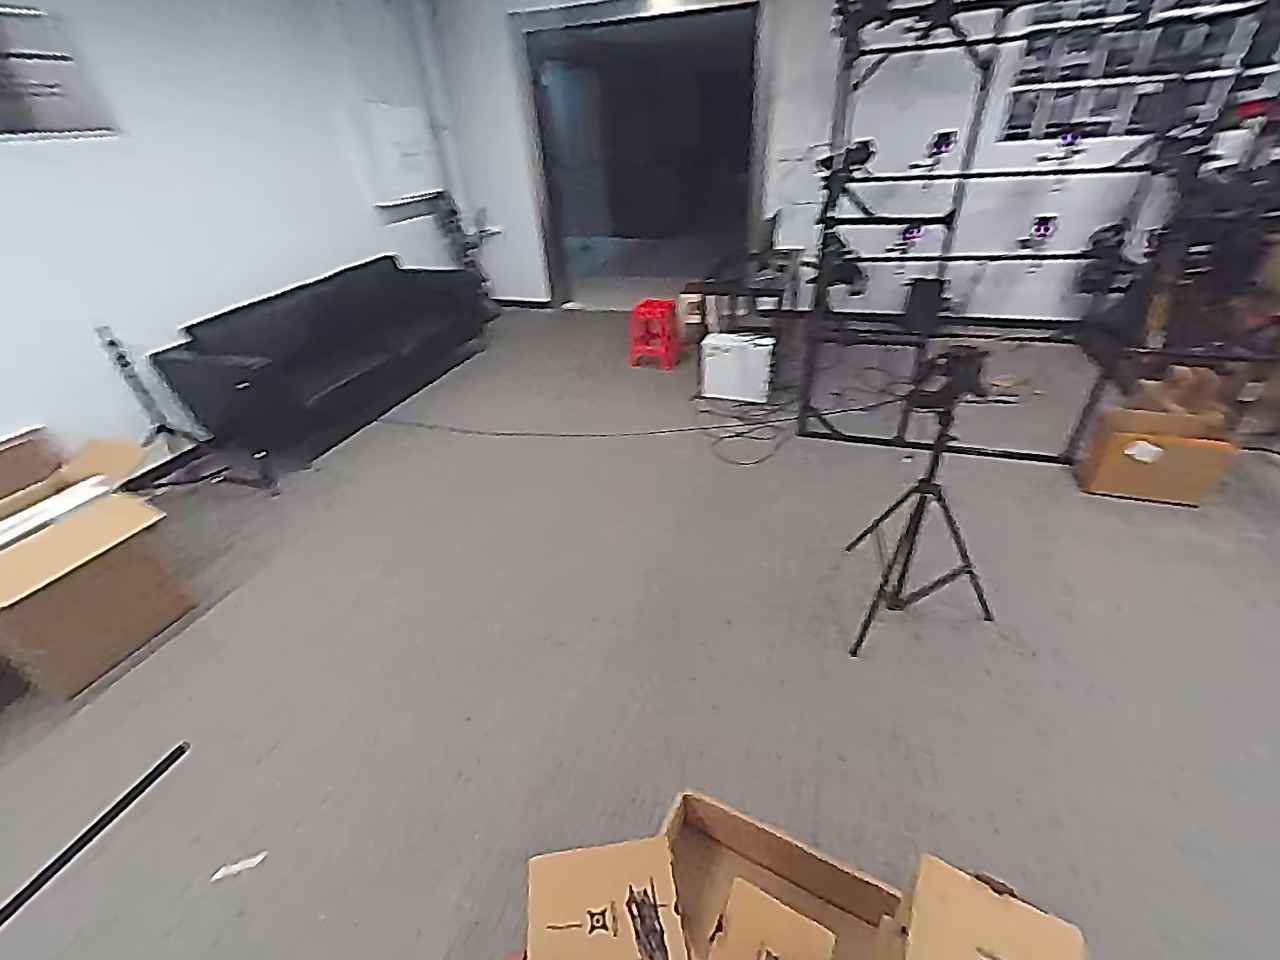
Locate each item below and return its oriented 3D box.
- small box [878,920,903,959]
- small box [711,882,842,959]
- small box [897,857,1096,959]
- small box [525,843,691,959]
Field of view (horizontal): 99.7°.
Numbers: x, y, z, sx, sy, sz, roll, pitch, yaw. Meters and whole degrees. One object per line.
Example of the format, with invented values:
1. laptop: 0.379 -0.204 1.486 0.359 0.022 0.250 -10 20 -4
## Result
1. small box: 0.392 0.728 0.691 0.179 0.176 0.168 11 36 24
2. small box: 0.209 0.817 0.880 0.179 0.176 0.168 15 37 26
3. small box: 0.384 0.588 0.606 0.168 0.176 0.179 14 36 29
4. small box: -0.038 0.566 0.629 0.179 0.176 0.168 -4 25 -7
